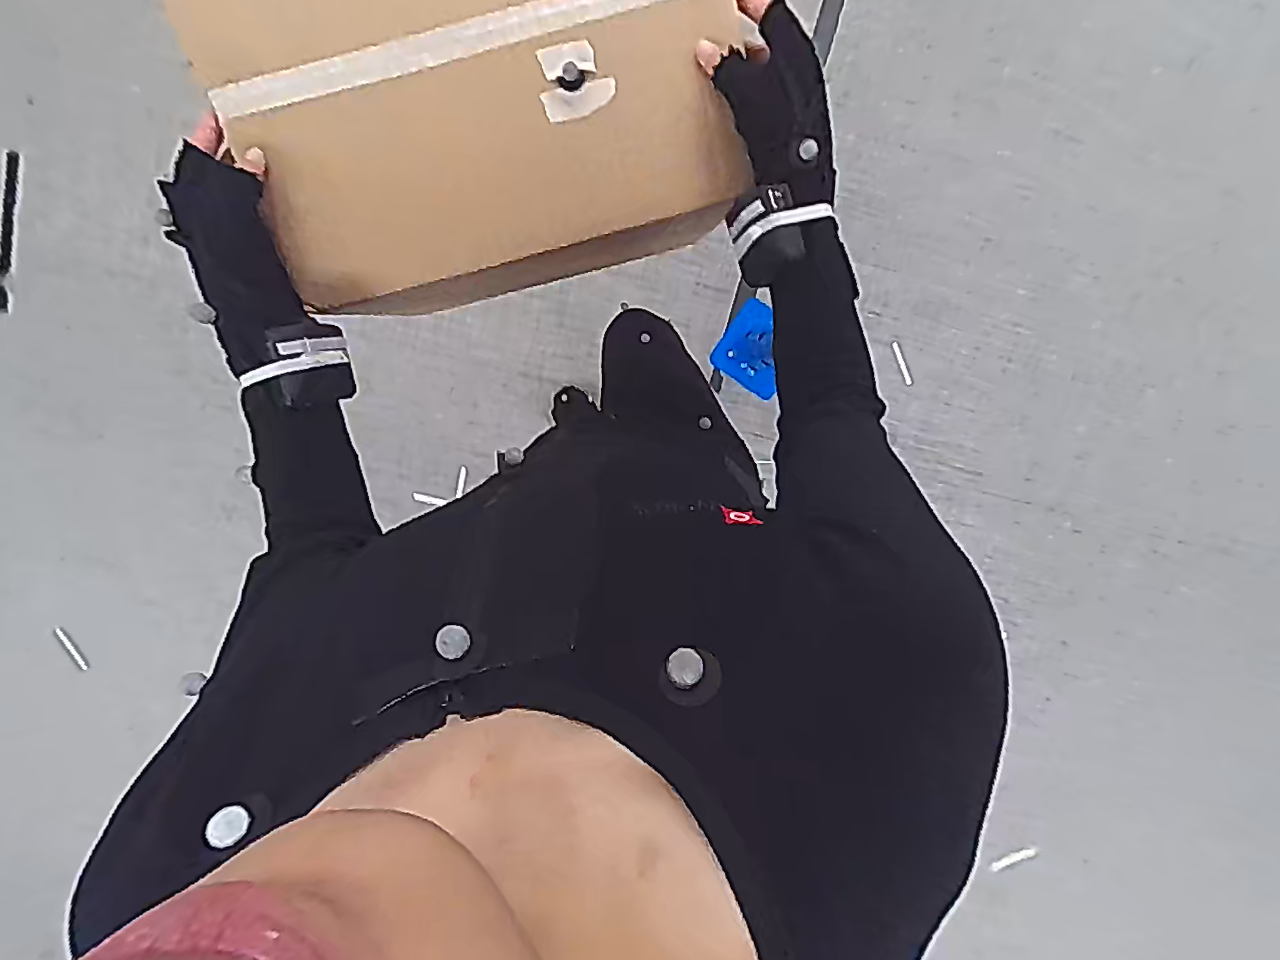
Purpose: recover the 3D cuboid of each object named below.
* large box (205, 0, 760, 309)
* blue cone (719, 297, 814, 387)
[{"bbox_3d":[-0.134,-0.390,0.570,0.408,0.320,0.320,-14,107,-1],"label":"large box"},{"bbox_3d":[0.322,-0.327,1.252,0.193,0.380,0.192,35,99,-6],"label":"blue cone"}]
